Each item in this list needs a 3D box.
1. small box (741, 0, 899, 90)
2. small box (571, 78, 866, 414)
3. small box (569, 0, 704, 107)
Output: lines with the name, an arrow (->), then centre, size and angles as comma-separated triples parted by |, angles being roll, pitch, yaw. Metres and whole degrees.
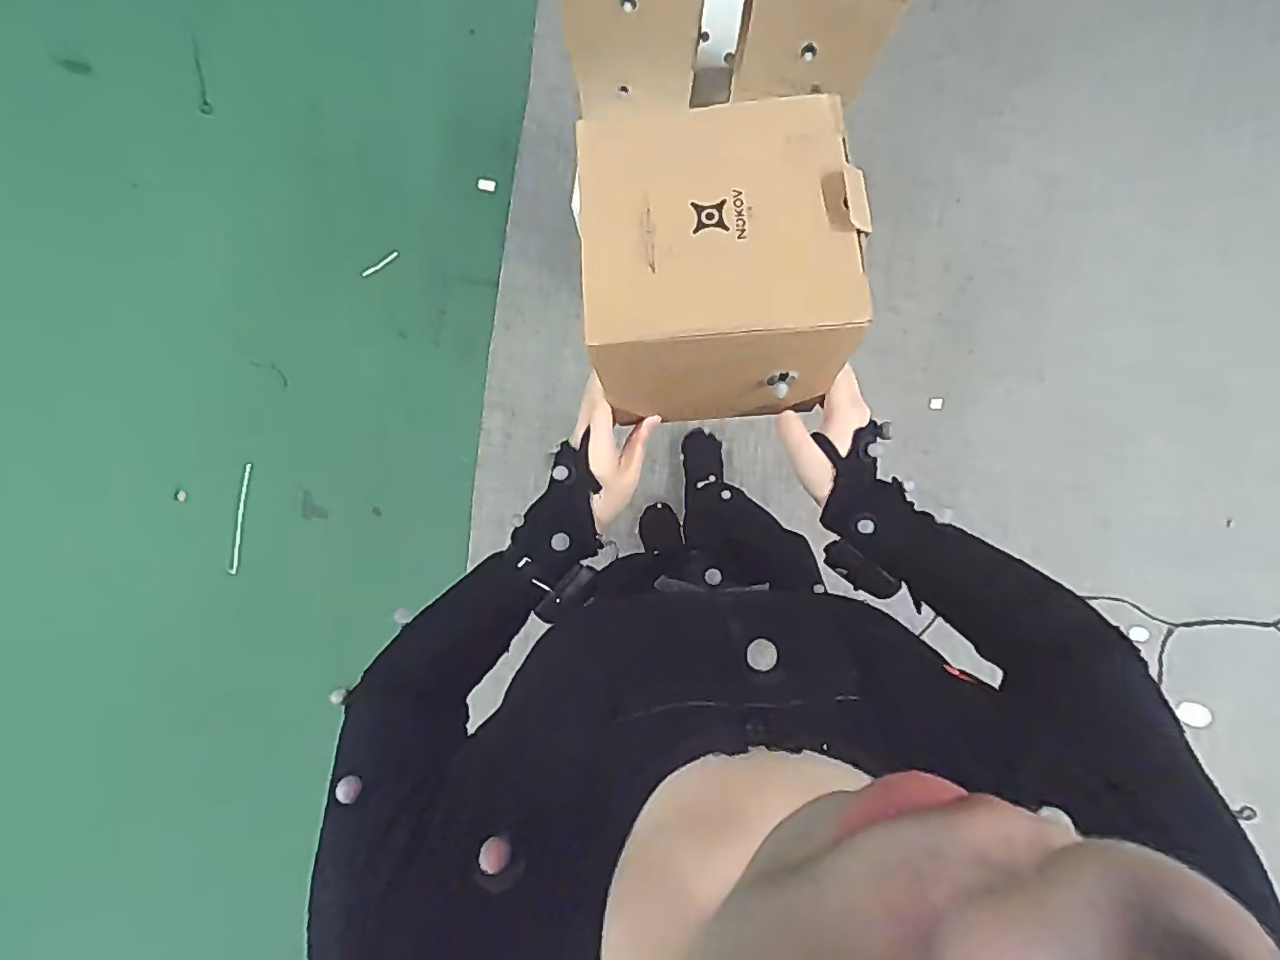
small box -> 0.225, -0.620, 0.655 | 0.168, 0.176, 0.179 | 10, 90, 1
small box -> 0.050, -0.158, 0.418 | 0.179, 0.176, 0.168 | -5, 79, 5
small box -> 0.000, -0.675, 0.822 | 0.179, 0.176, 0.168 | 8, 91, -1
